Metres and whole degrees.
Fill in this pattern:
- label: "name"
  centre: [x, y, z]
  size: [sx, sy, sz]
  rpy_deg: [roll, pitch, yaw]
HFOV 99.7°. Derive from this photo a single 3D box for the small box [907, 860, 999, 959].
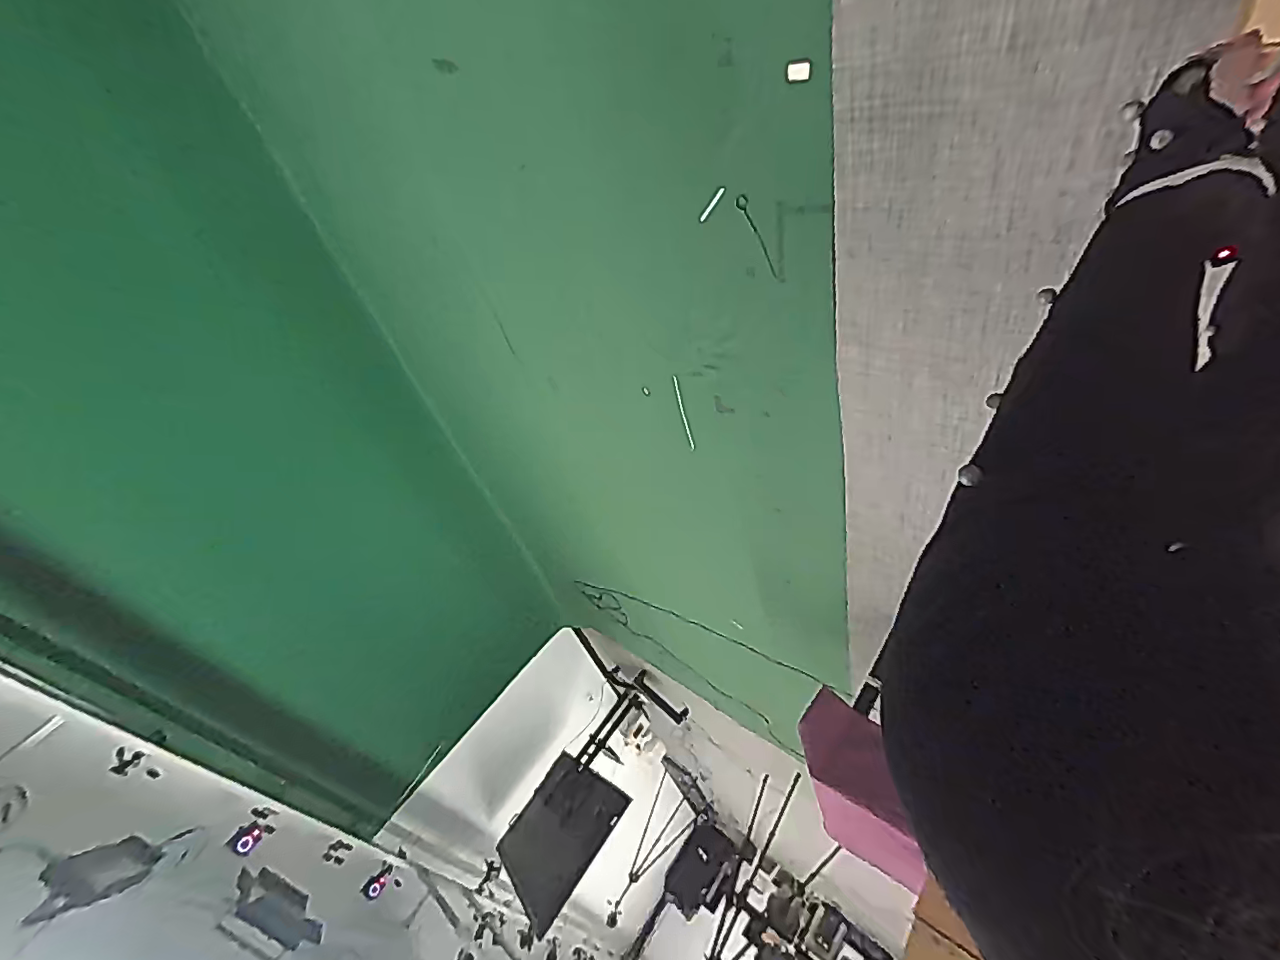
- label: "small box"
  centre: [0.887, 1.221, 1.538]
  size: [0.179, 0.176, 0.168]
  rpy_deg: [19, 145, 37]
